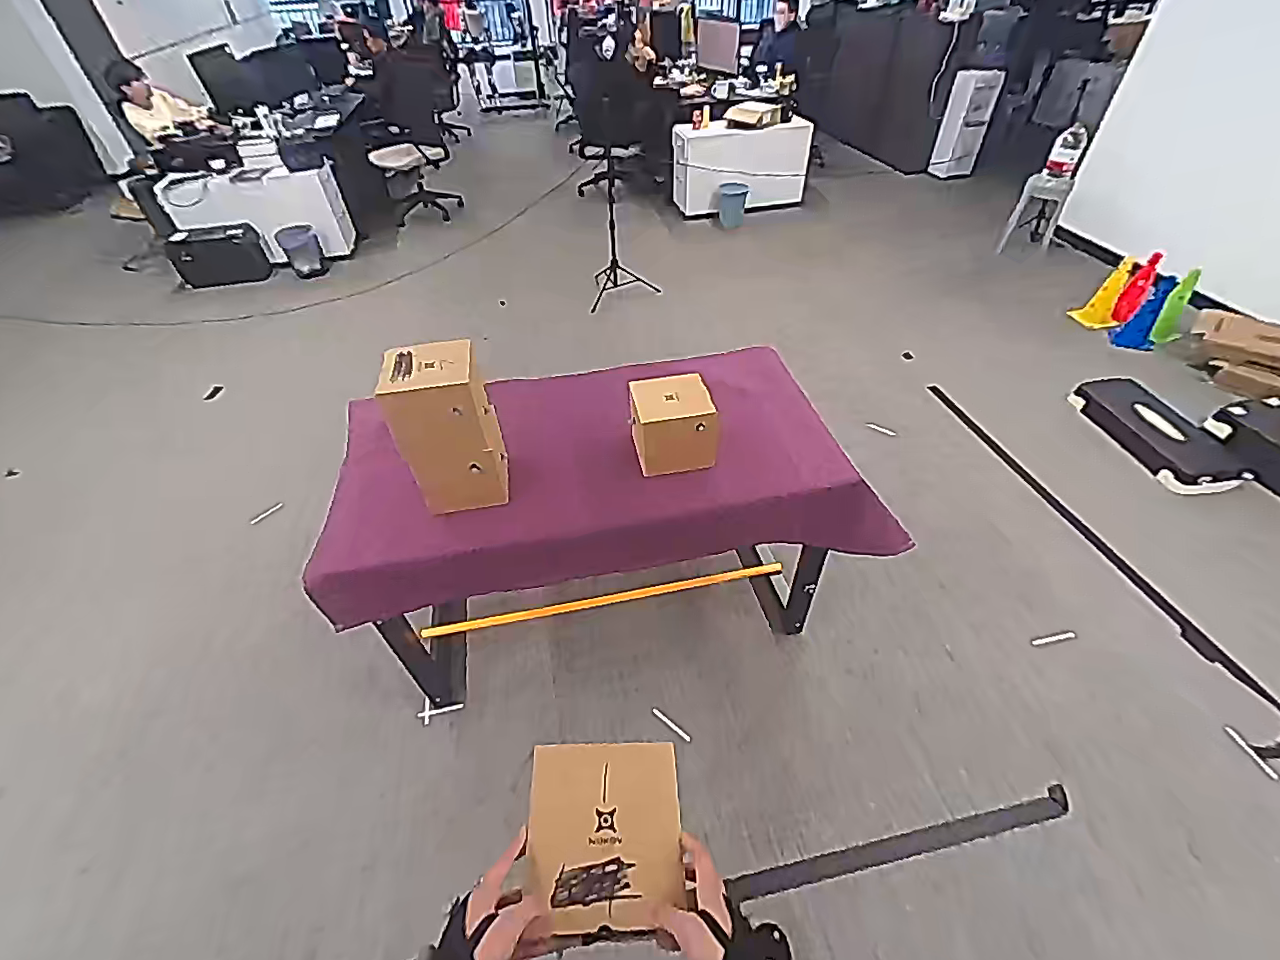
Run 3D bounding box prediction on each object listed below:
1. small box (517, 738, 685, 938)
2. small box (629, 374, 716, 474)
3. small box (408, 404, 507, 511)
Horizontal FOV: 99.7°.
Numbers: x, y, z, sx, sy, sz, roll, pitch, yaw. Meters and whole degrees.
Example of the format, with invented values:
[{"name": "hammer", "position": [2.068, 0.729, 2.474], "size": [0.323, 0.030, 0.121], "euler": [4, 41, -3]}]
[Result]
[{"name": "small box", "position": [-0.044, 0.420, 0.633], "size": [0.168, 0.176, 0.179], "euler": [2, 47, -5]}, {"name": "small box", "position": [0.075, -0.131, 1.293], "size": [0.179, 0.176, 0.168], "euler": [-8, 45, -6]}, {"name": "small box", "position": [-0.402, -0.049, 1.229], "size": [0.179, 0.176, 0.168], "euler": [-8, 45, -6]}]
